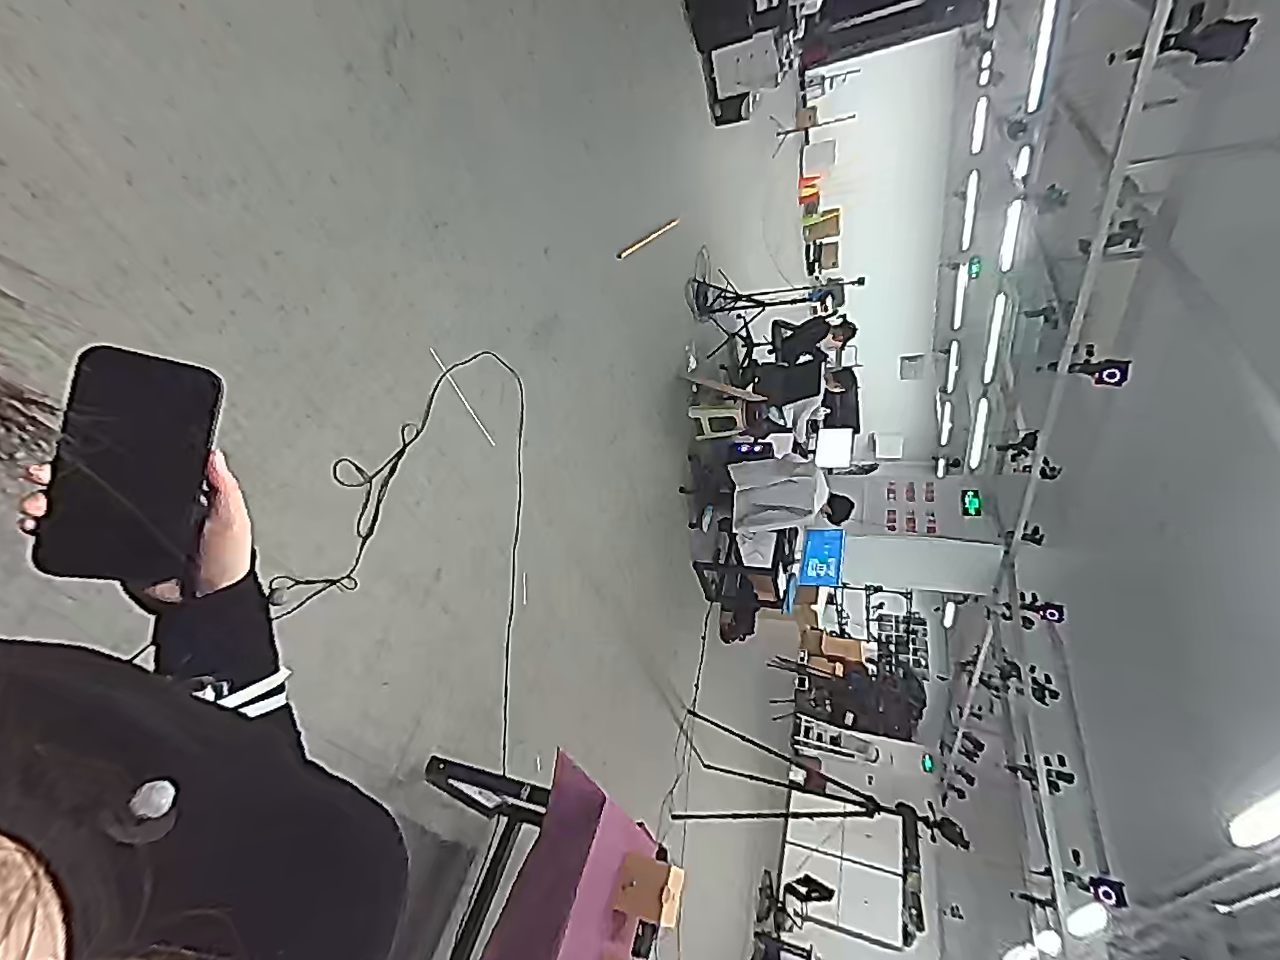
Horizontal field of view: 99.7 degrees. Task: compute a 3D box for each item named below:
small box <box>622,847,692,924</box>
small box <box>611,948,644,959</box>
[{"bbox_3d":[0.059,1.381,1.845,0.179,0.176,0.168,63,37,-45],"label":"small box"},{"bbox_3d":[-0.020,1.604,1.691,0.168,0.176,0.179,-65,146,-38],"label":"small box"}]
